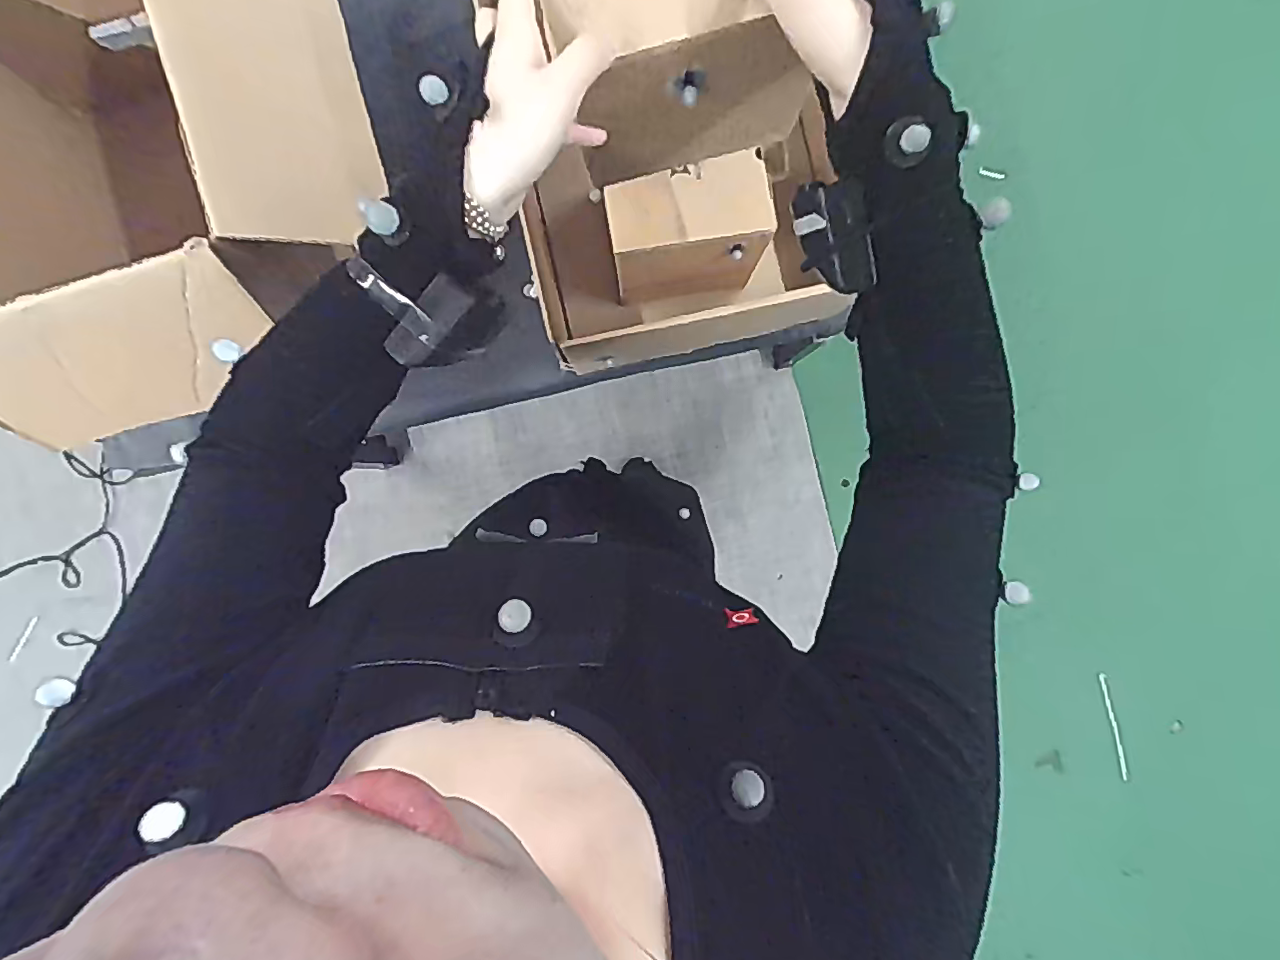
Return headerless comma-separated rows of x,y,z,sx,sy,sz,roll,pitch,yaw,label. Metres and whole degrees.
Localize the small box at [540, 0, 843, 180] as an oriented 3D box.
0.022,-0.344,0.385,0.179,0.176,0.168,-13,98,3,small box
